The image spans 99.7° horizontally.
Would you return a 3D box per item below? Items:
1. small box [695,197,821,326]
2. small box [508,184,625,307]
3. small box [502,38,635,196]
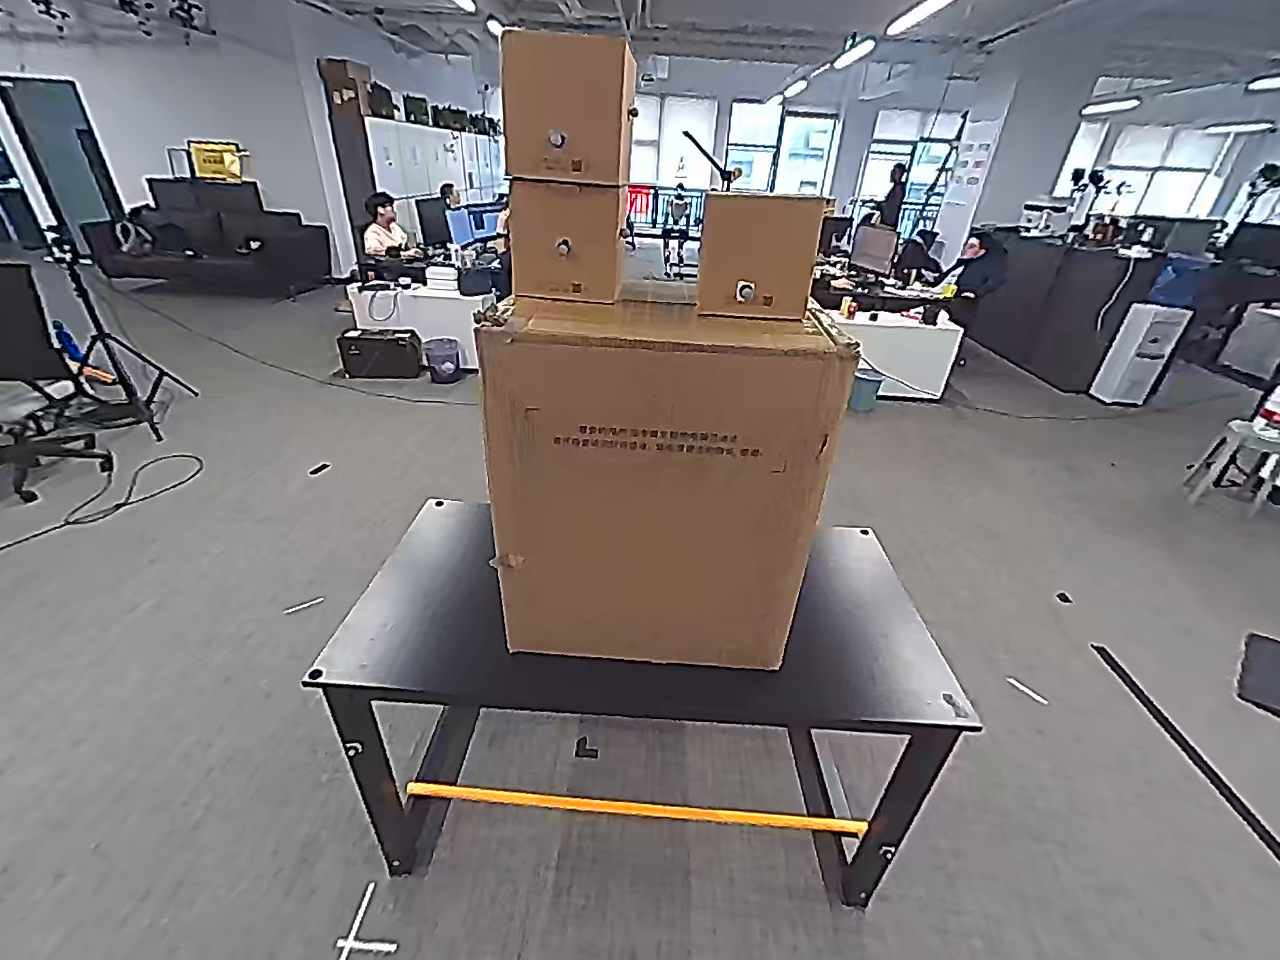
[{"bbox_3d":[0.176,-0.354,0.866,0.168,0.176,0.179,3,30,3],"label":"small box"},{"bbox_3d":[-0.114,-0.394,0.904,0.168,0.176,0.179,5,30,0],"label":"small box"},{"bbox_3d":[-0.101,-0.529,0.808,0.168,0.176,0.179,5,30,1],"label":"small box"}]
